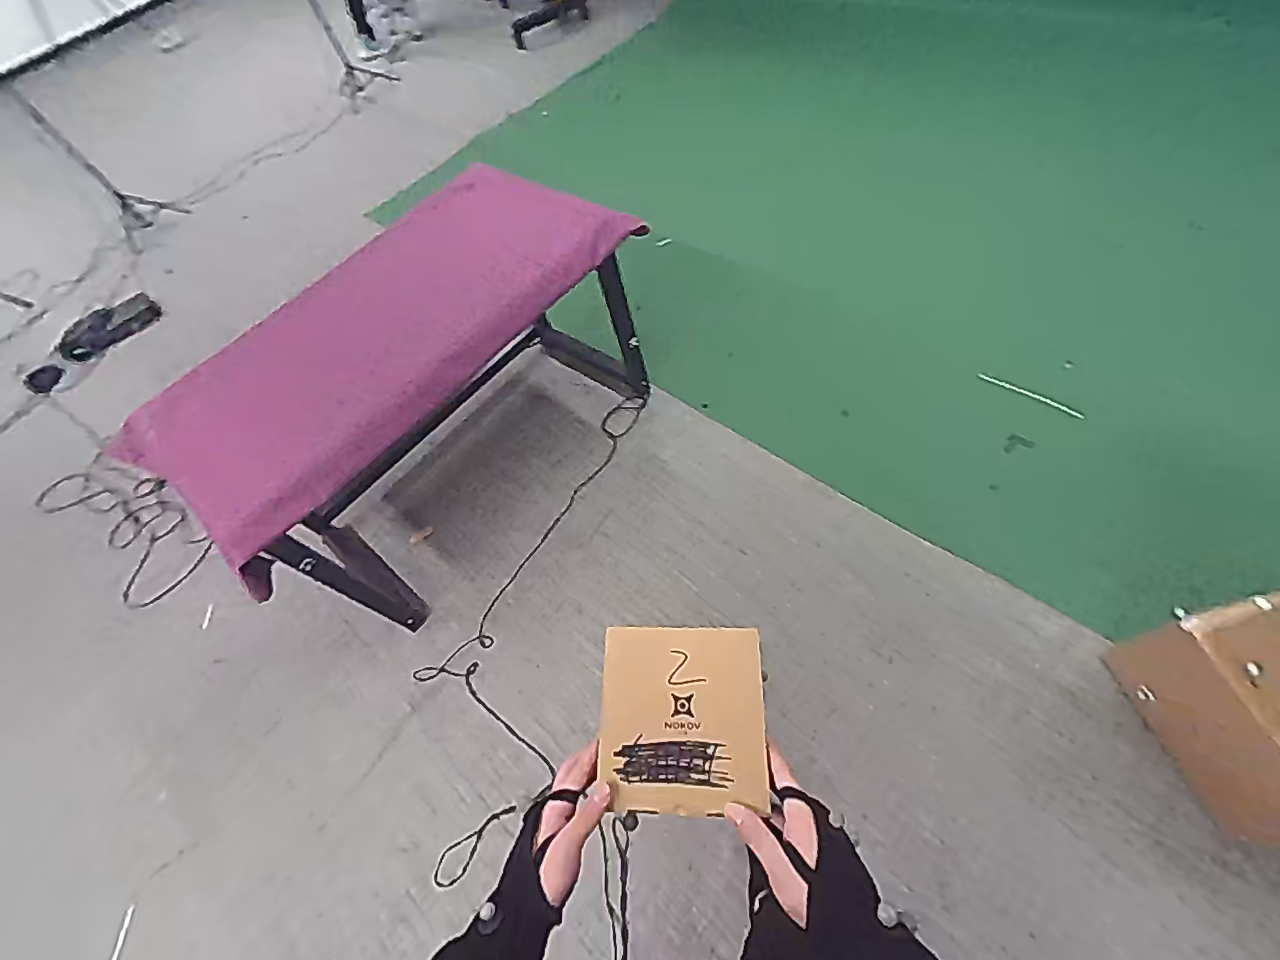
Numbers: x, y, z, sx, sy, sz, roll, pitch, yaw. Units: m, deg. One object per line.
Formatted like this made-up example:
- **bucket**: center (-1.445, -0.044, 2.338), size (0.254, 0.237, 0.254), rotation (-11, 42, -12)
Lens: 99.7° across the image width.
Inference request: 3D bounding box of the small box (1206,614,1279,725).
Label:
- **small box**: center (1.190, 0.318, 0.952), size (0.179, 0.176, 0.168), rotation (-17, 57, 3)
